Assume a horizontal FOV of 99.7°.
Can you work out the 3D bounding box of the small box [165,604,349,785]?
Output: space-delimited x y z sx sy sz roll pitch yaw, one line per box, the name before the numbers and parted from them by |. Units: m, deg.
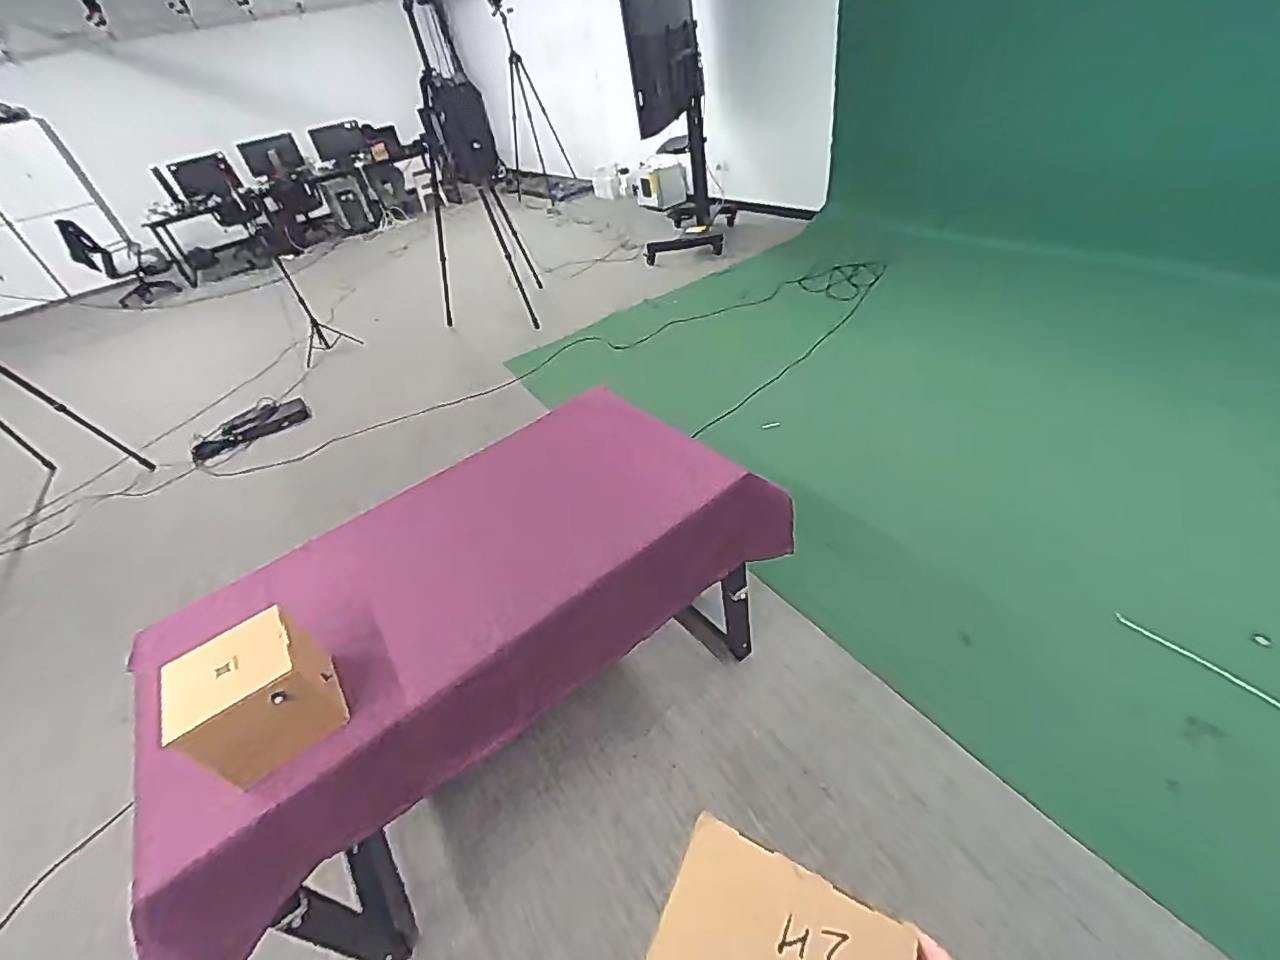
small box | -0.609 0.344 0.869 0.179 0.176 0.168 -32 43 -23
